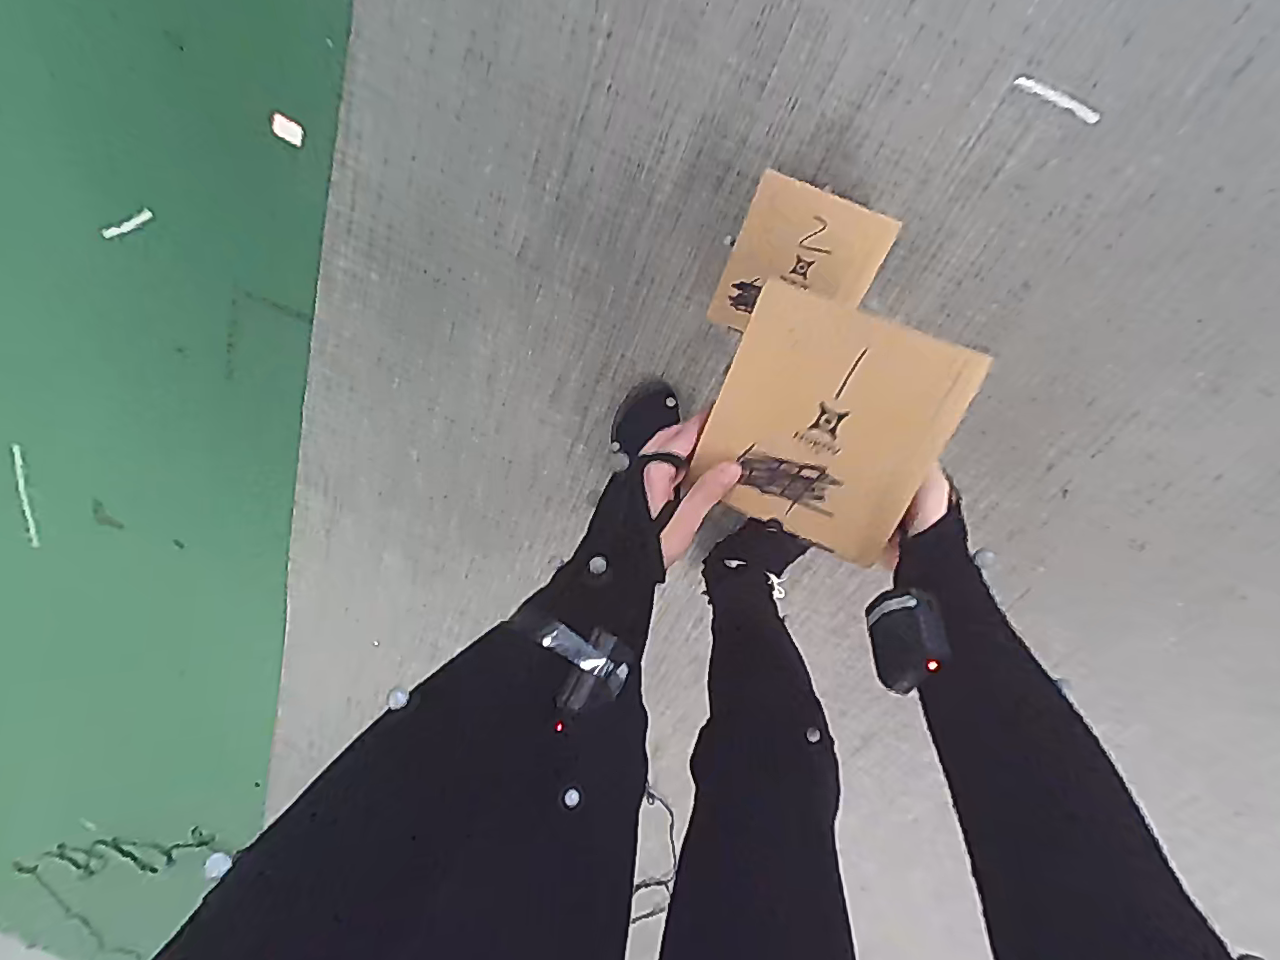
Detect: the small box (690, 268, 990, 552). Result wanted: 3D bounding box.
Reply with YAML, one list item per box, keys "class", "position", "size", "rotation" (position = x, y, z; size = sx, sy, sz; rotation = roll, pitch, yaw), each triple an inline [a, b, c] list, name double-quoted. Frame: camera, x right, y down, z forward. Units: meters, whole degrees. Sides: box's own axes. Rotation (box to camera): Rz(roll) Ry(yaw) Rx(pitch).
- class: "small box"
  position: [0.163, -0.071, 0.487]
  size: [0.168, 0.176, 0.179]
  rotation: [23, 111, 7]
